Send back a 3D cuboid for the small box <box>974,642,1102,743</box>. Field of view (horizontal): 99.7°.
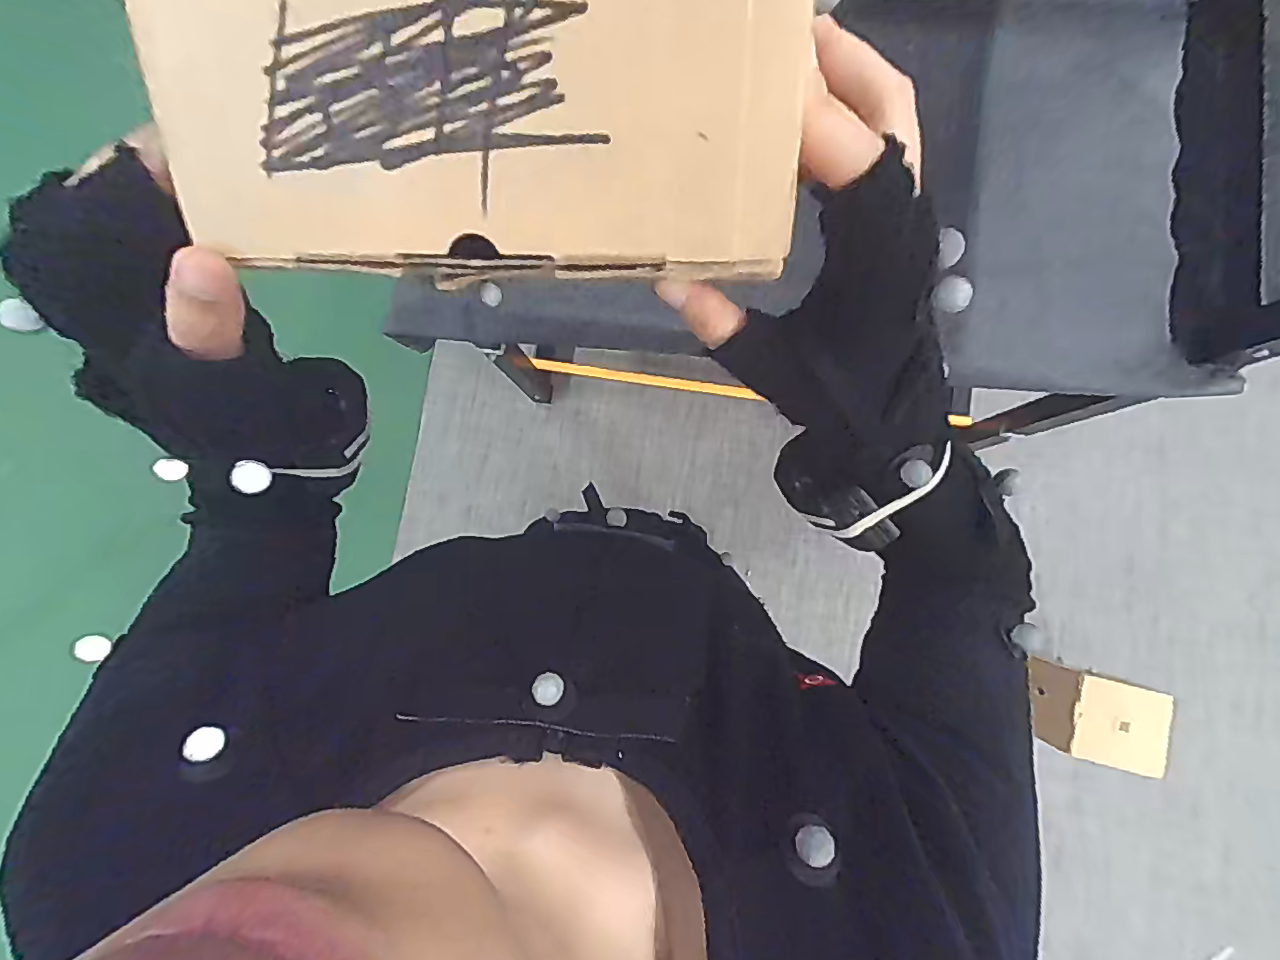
[{"bbox_3d":[0.961,0.508,1.319,0.179,0.176,0.168,14,84,5],"label":"small box"}]
